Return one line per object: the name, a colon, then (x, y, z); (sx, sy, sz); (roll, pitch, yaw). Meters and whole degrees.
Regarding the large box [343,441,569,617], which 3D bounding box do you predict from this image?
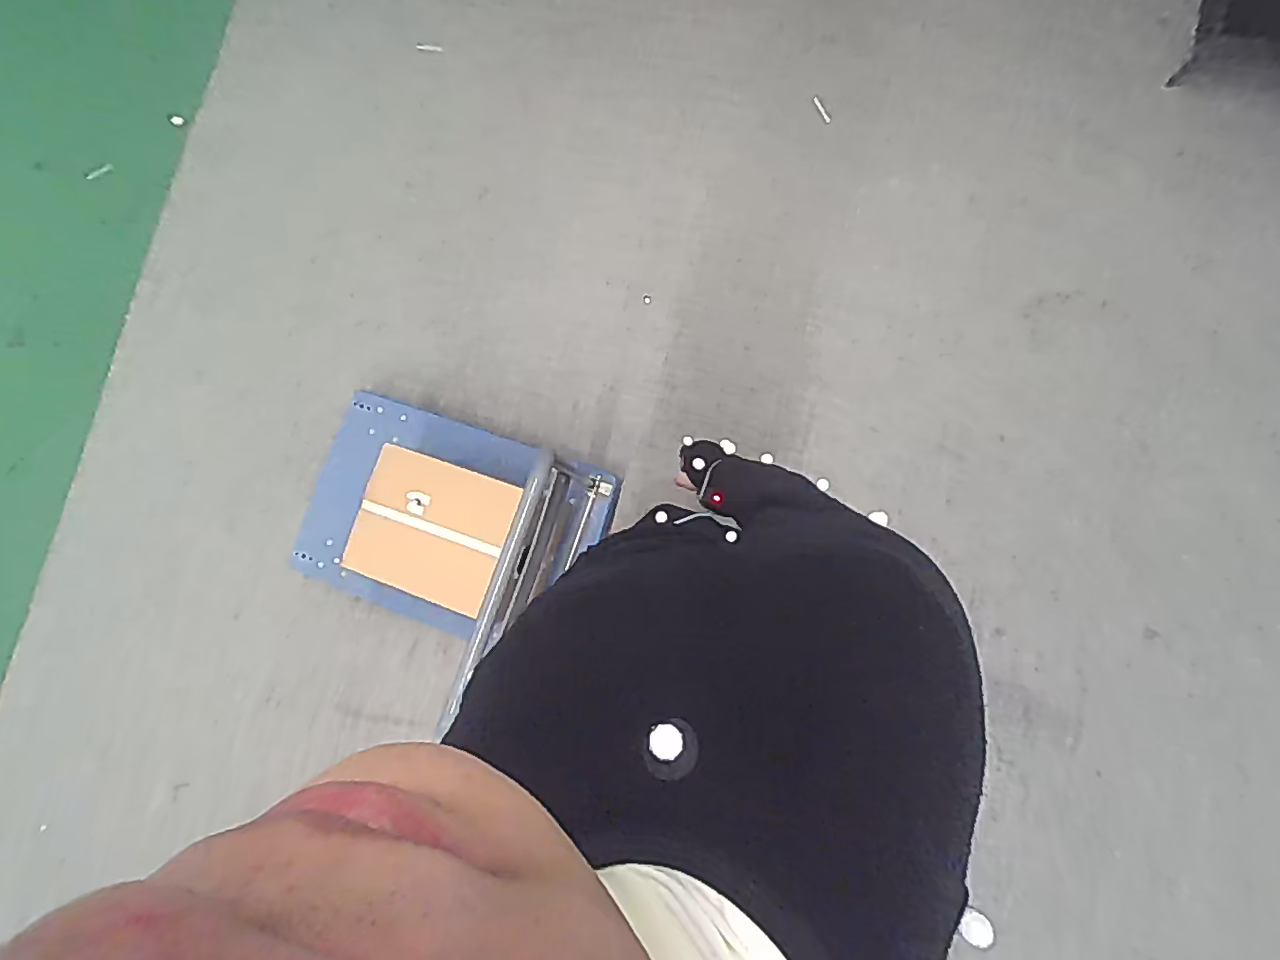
large box: (-0.447, 0.122, 1.396); (0.408, 0.320, 0.320); (18, 86, 10)
